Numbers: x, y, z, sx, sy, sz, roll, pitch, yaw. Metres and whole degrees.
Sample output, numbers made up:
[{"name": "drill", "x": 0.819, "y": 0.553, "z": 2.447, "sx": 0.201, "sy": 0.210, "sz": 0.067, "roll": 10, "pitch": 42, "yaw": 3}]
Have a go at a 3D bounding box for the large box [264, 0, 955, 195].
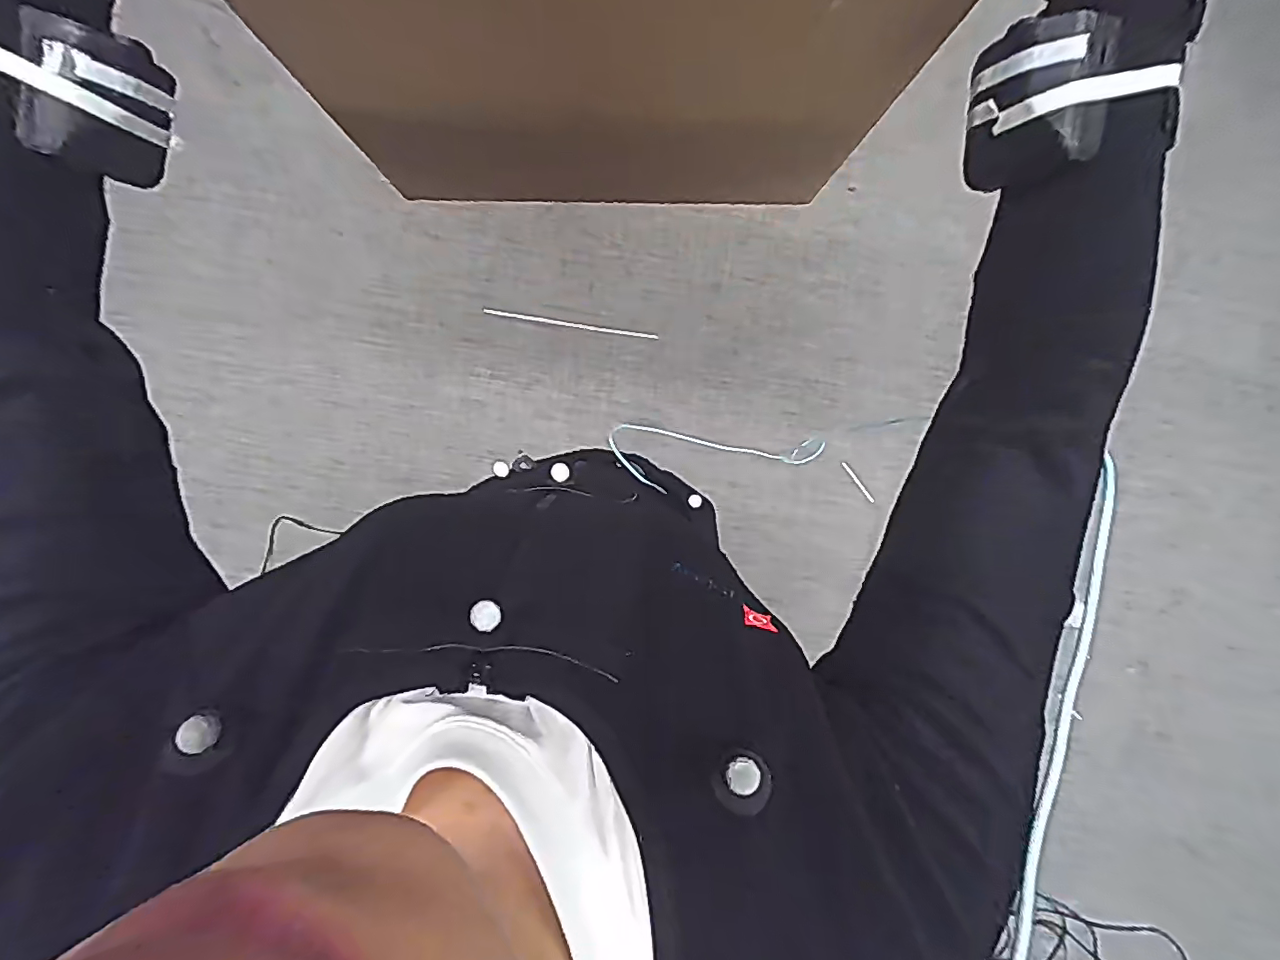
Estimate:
[{"name": "large box", "x": -0.023, "y": -0.424, "z": 0.377, "sx": 0.408, "sy": 0.320, "sz": 0.320, "roll": -1, "pitch": 95, "yaw": -3}]
